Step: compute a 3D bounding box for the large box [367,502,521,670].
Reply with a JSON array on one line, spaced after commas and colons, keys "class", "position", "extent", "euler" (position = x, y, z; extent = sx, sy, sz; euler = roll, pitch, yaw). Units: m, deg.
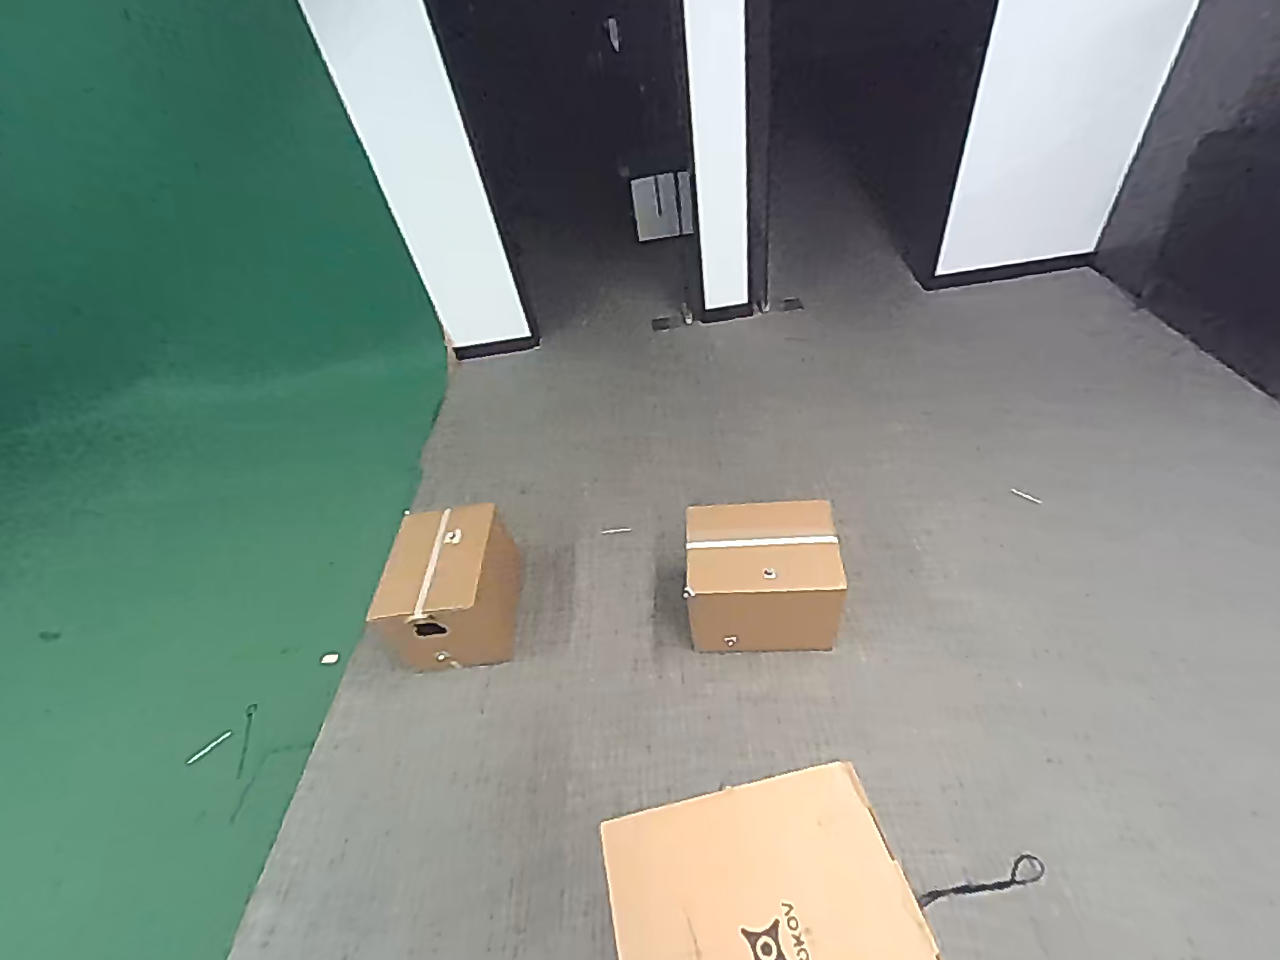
[{"class": "large box", "position": [-0.593, 0.336, 1.726], "extent": [0.320, 0.320, 0.408], "euler": [-8, 43, 4]}]

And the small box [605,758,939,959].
[{"class": "small box", "position": [0.080, 0.317, 0.365], "extent": [0.179, 0.176, 0.168], "euler": [-11, 44, -4]}]
